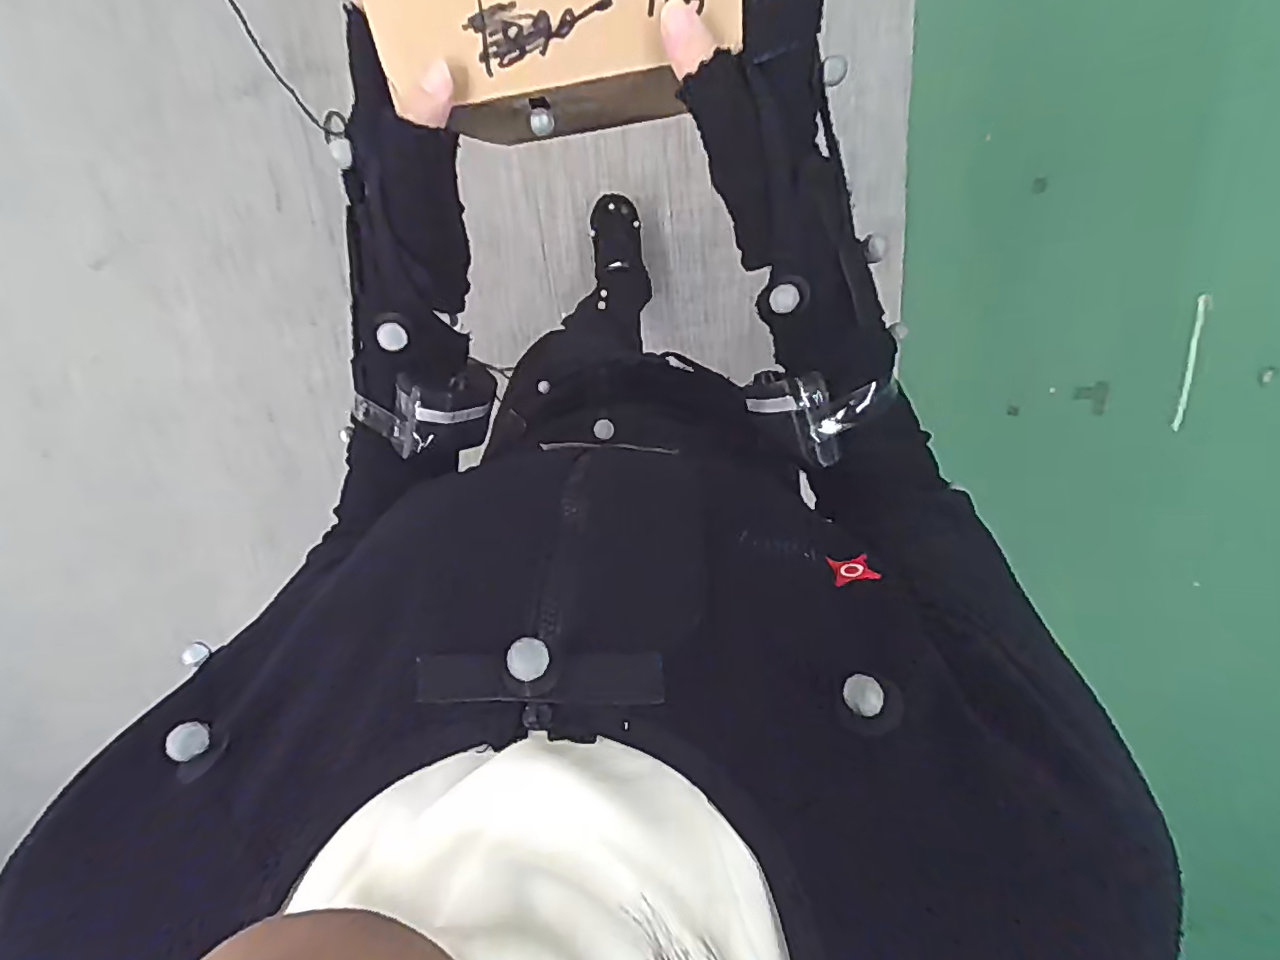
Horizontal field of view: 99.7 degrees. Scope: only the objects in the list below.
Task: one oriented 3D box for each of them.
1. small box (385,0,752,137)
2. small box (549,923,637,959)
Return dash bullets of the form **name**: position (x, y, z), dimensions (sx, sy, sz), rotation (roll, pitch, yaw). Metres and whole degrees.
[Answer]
- **small box**: position (-0.042, -0.307, 0.287), dimensions (0.168, 0.176, 0.179), rotation (-9, 117, 6)
- **small box**: position (-0.094, 1.032, 1.085), dimensions (0.179, 0.176, 0.168), rotation (-3, 108, 6)
